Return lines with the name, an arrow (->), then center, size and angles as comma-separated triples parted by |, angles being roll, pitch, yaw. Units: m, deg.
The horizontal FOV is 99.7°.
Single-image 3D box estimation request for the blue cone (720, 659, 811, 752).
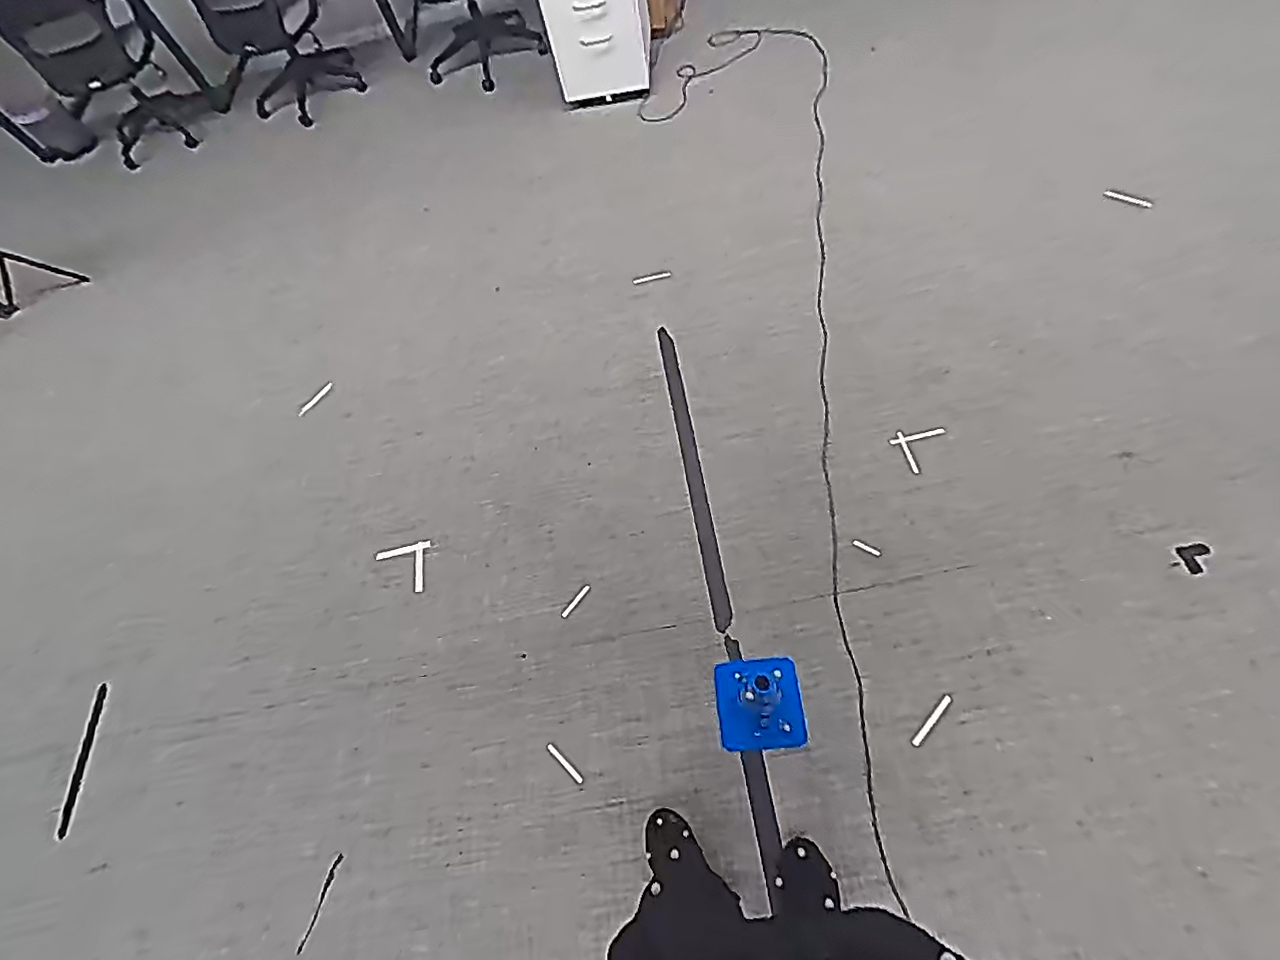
blue cone -> 0.263, 0.448, 1.128 | 0.193, 0.380, 0.192 | -9, 61, 6
